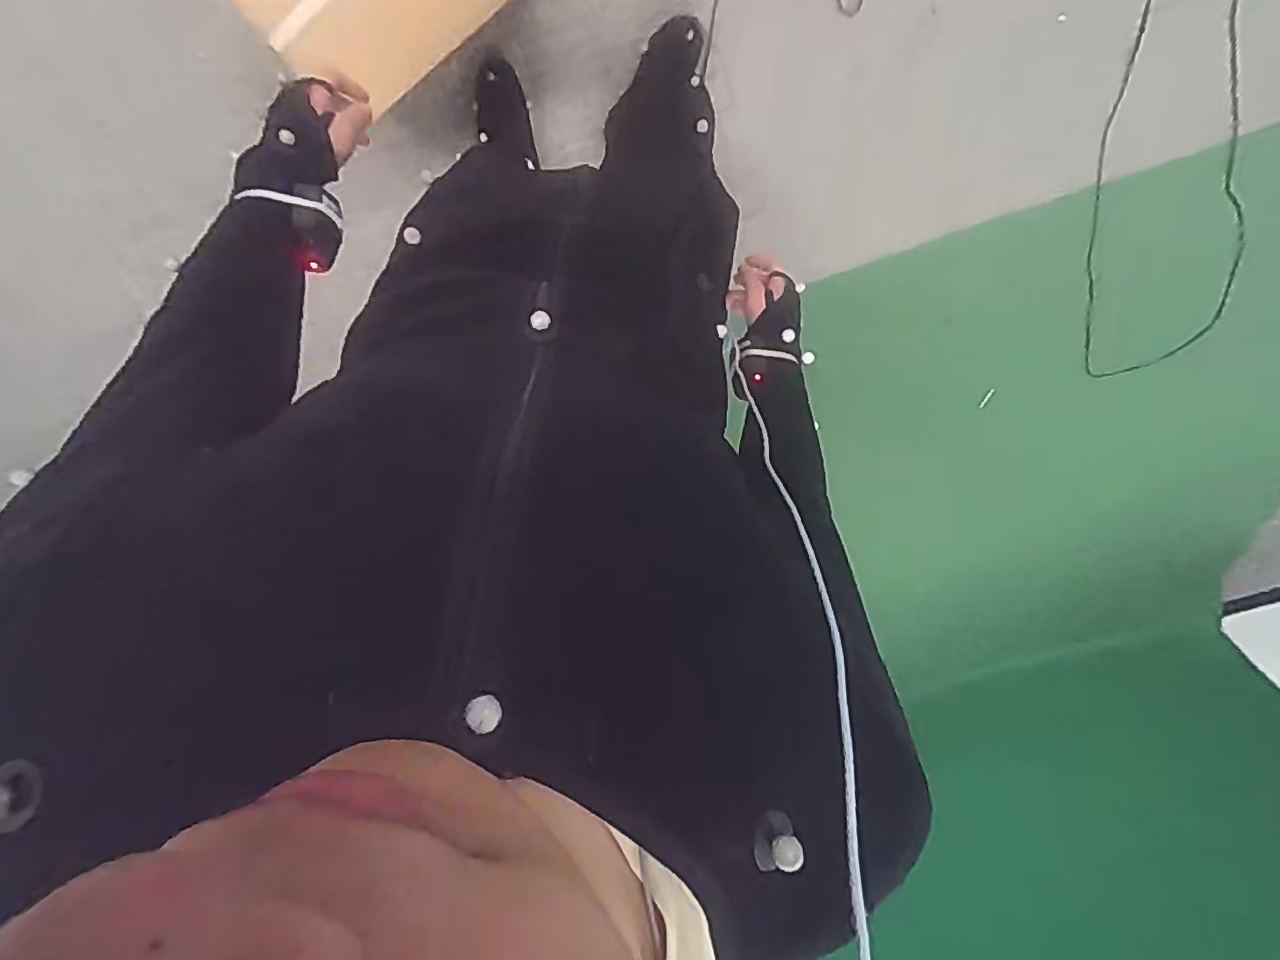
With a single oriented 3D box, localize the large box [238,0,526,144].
[{"bbox_3d":[-0.439,-0.896,0.953,0.408,0.320,0.320,-28,130,16],"label":"large box"}]
